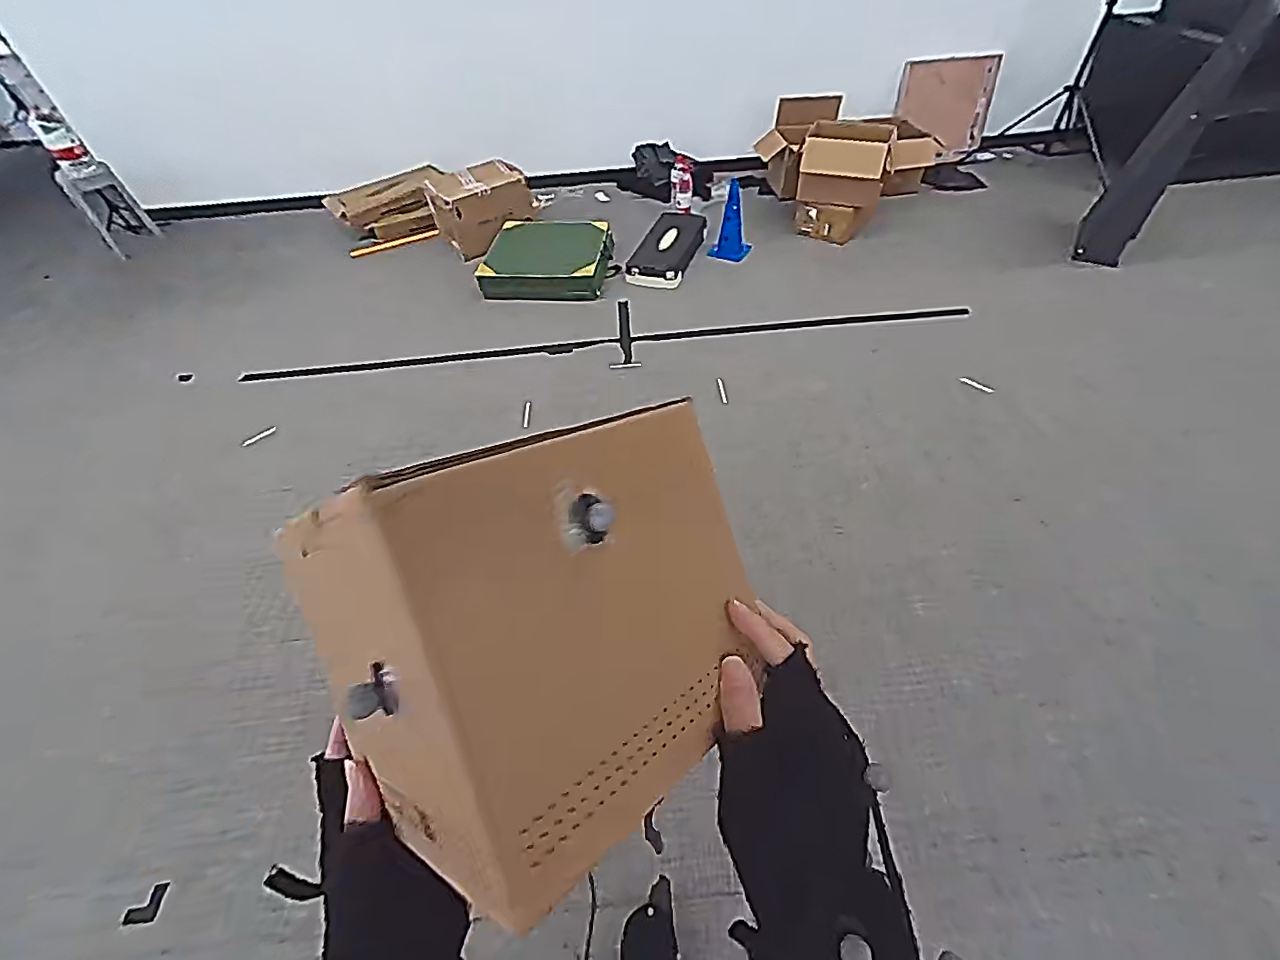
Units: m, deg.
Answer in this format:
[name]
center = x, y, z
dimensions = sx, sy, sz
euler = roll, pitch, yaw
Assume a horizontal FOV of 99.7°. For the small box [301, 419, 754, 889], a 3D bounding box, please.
[small box]
center = -0.057, 0.079, 0.313
dimensions = 0.168, 0.176, 0.179
euler = -14, 4, 45
